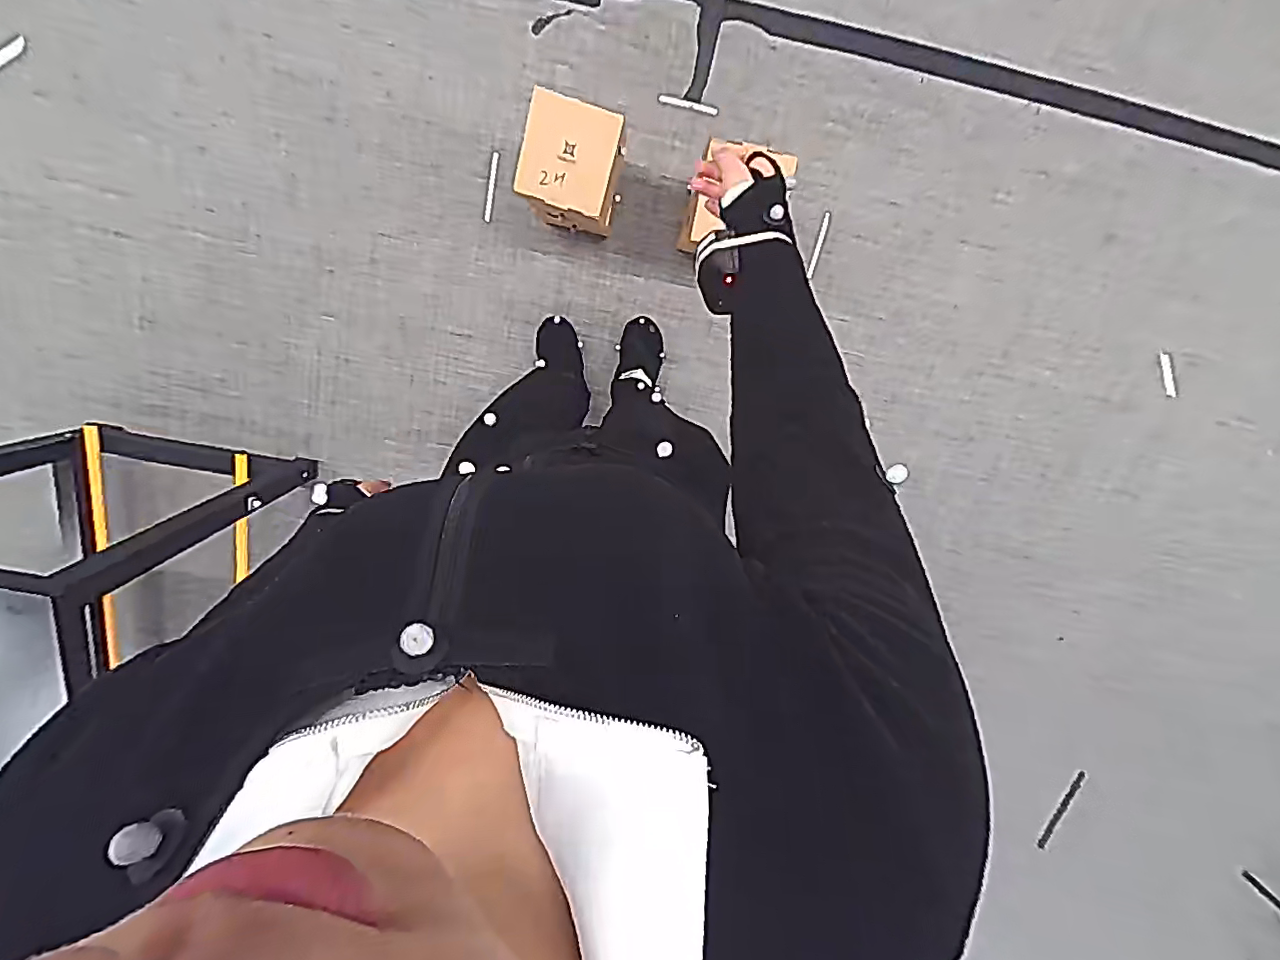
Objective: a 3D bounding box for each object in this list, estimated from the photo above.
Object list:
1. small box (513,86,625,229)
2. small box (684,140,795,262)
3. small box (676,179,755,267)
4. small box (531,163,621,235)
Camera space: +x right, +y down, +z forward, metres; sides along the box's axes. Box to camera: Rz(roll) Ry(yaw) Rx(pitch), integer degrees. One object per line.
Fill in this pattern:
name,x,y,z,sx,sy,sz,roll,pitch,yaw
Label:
small box,-0.132,-0.610,1.049,0.168,0.176,0.179,17,108,-6
small box,0.188,-0.545,1.081,0.168,0.176,0.179,10,109,-3
small box,0.190,-0.595,1.235,0.179,0.176,0.168,14,108,-7
small box,-0.137,-0.660,1.207,0.168,0.176,0.179,11,109,-4
